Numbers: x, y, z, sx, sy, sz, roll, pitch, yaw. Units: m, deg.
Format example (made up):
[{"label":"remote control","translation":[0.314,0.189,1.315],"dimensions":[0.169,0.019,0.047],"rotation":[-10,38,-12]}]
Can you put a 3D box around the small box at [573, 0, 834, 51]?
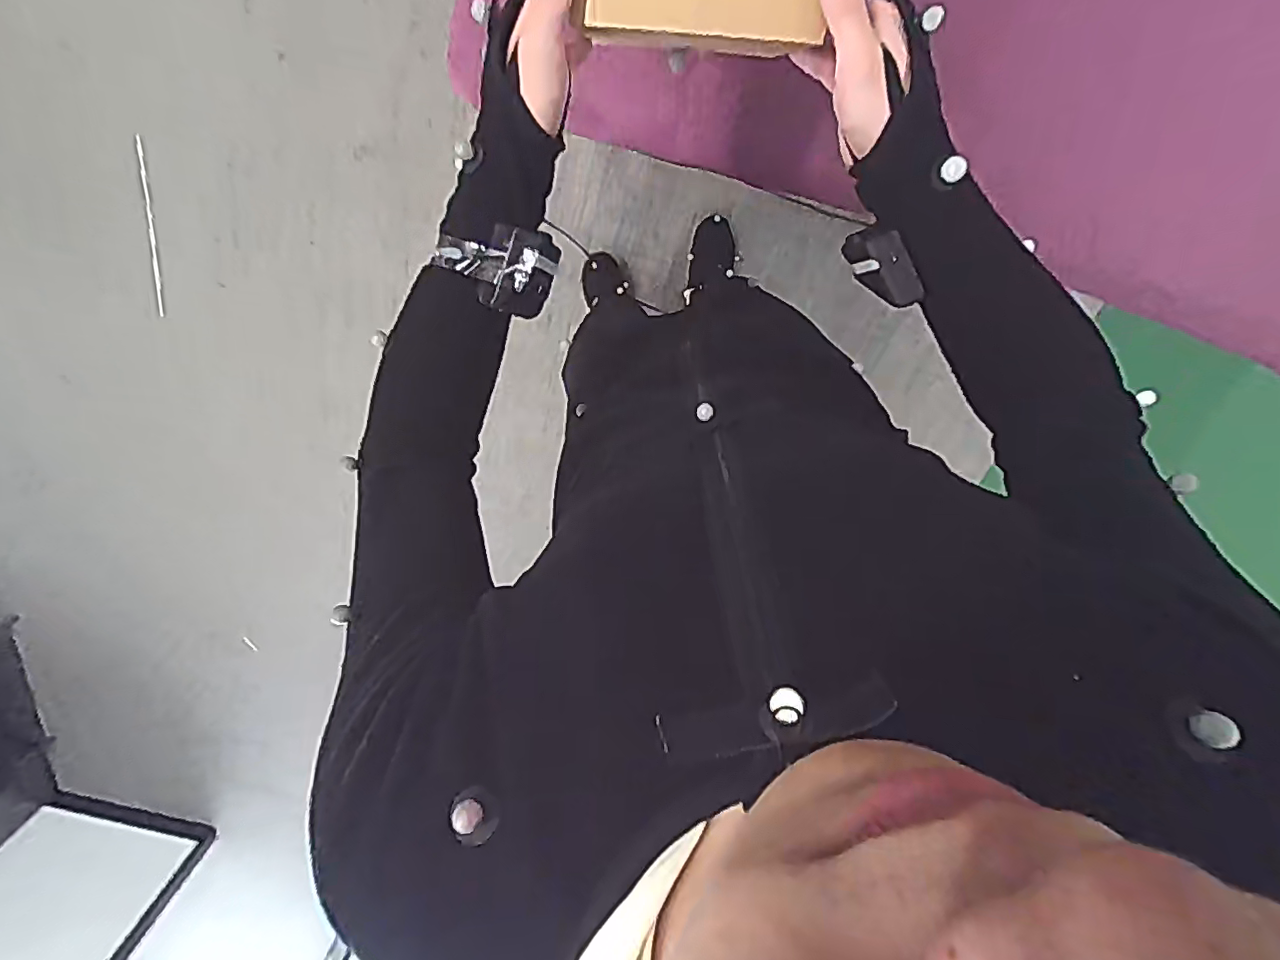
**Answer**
[{"label":"small box","translation":[0.046,-0.404,0.354],"dimensions":[0.168,0.176,0.179],"rotation":[5,127,-1]}]
